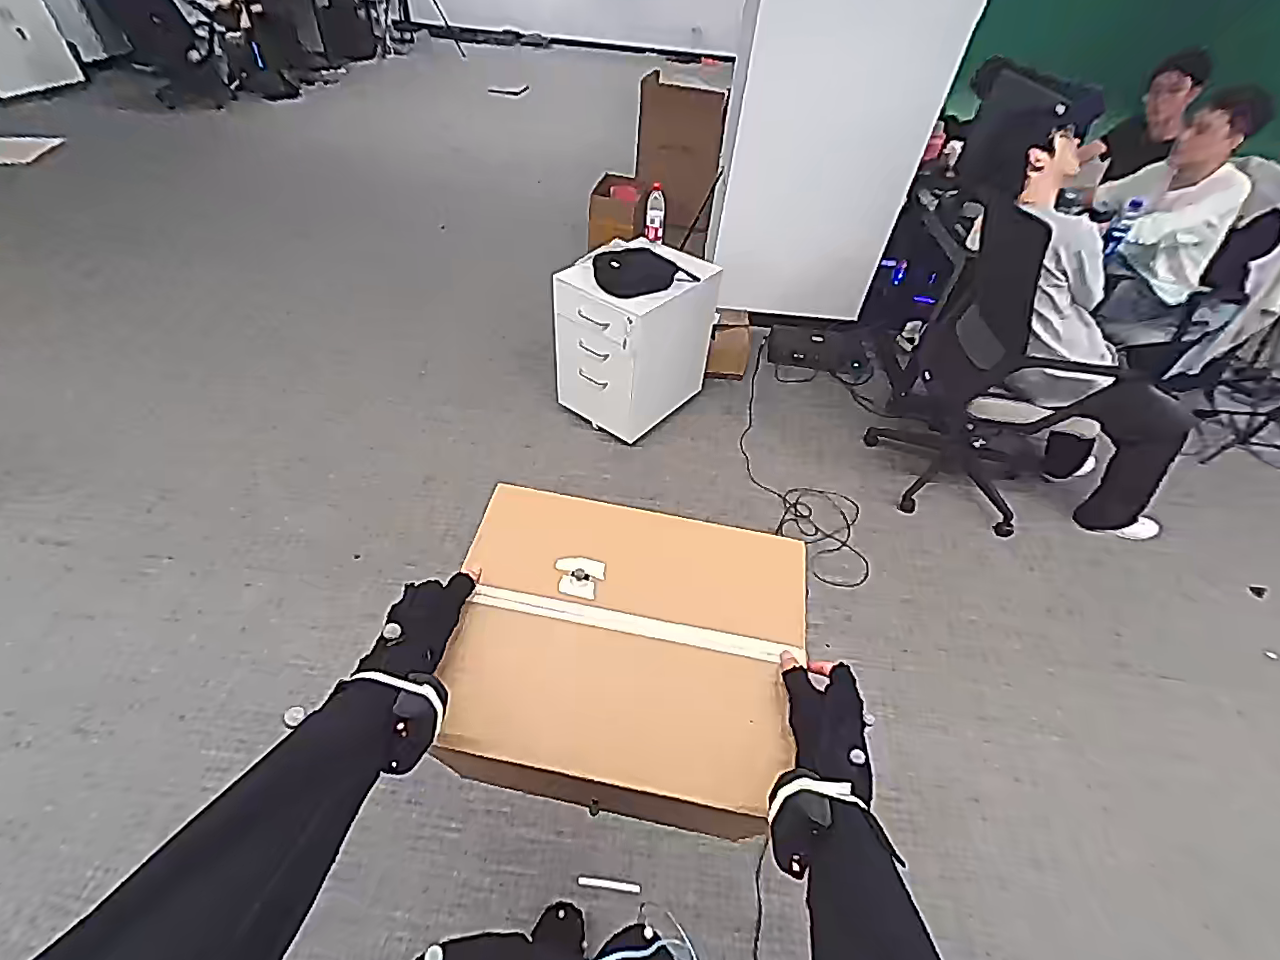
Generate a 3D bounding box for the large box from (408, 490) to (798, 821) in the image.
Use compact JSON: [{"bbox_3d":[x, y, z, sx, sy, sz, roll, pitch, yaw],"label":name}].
[{"bbox_3d":[-0.023,0.251,0.744,0.408,0.320,0.320,10,54,3],"label":"large box"}]
